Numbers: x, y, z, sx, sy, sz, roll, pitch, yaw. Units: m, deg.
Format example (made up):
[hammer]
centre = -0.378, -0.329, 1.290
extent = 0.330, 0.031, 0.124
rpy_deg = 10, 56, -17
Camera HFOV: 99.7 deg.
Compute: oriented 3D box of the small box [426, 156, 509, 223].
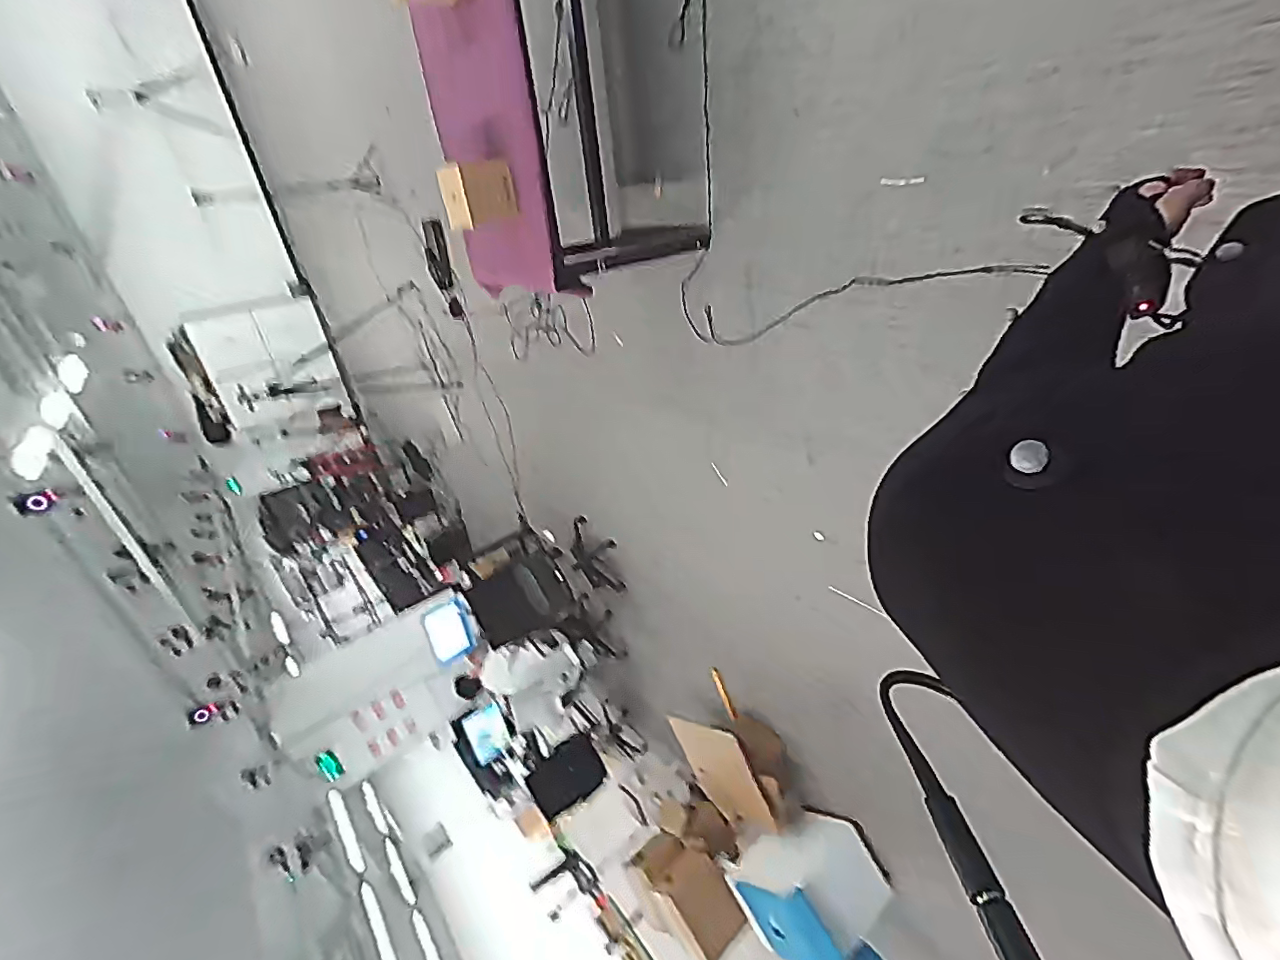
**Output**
[small box]
centre = -0.527, -0.894, 1.665
extent = 0.179, 0.176, 0.168
rpy_deg = 26, 133, 44
